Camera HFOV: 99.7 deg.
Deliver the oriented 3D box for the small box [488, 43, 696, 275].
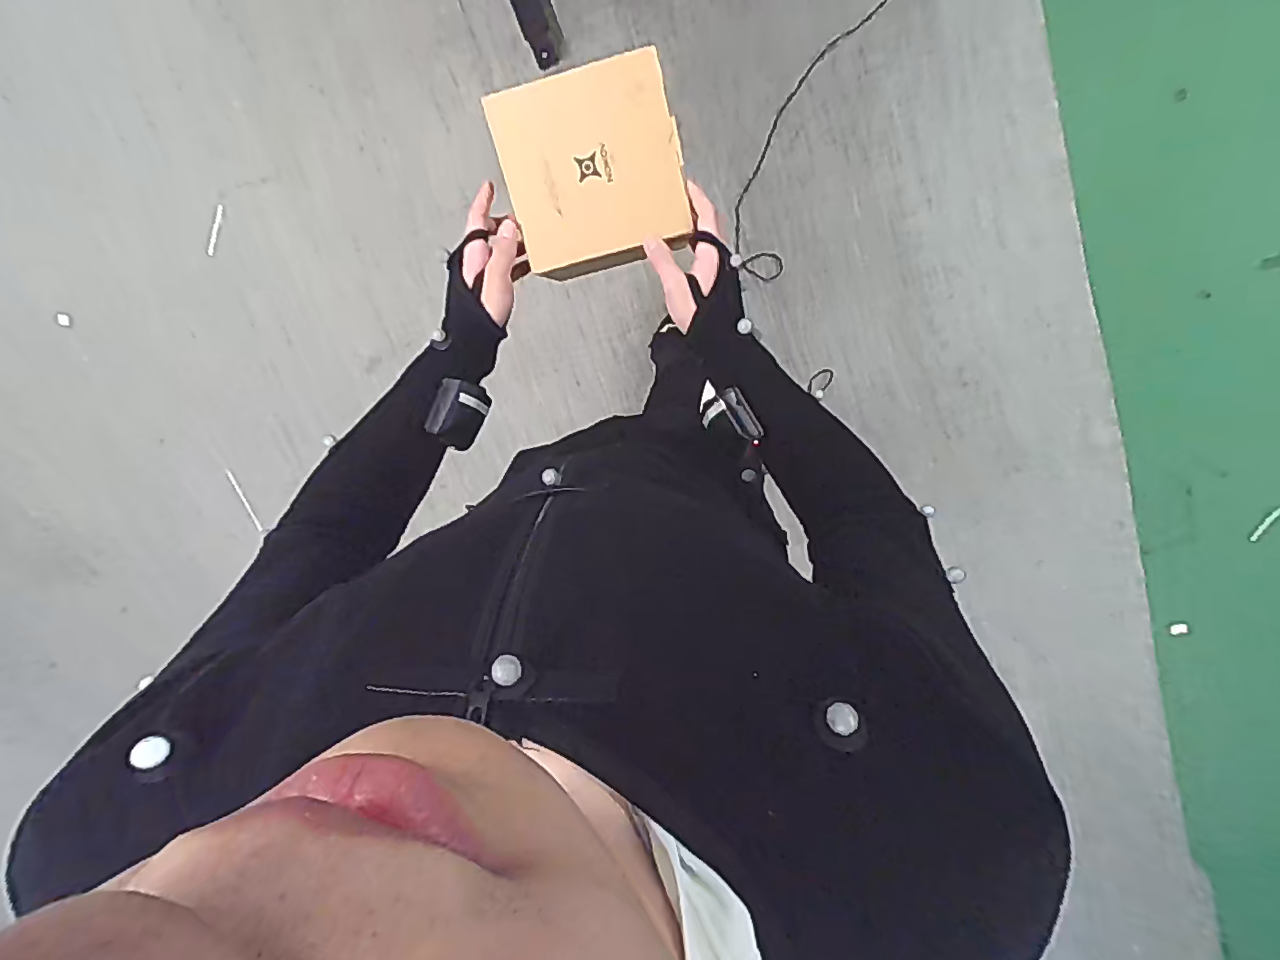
[{"bbox_3d":[-0.044,-0.336,0.605,0.179,0.176,0.168,-12,106,5],"label":"small box"}]
